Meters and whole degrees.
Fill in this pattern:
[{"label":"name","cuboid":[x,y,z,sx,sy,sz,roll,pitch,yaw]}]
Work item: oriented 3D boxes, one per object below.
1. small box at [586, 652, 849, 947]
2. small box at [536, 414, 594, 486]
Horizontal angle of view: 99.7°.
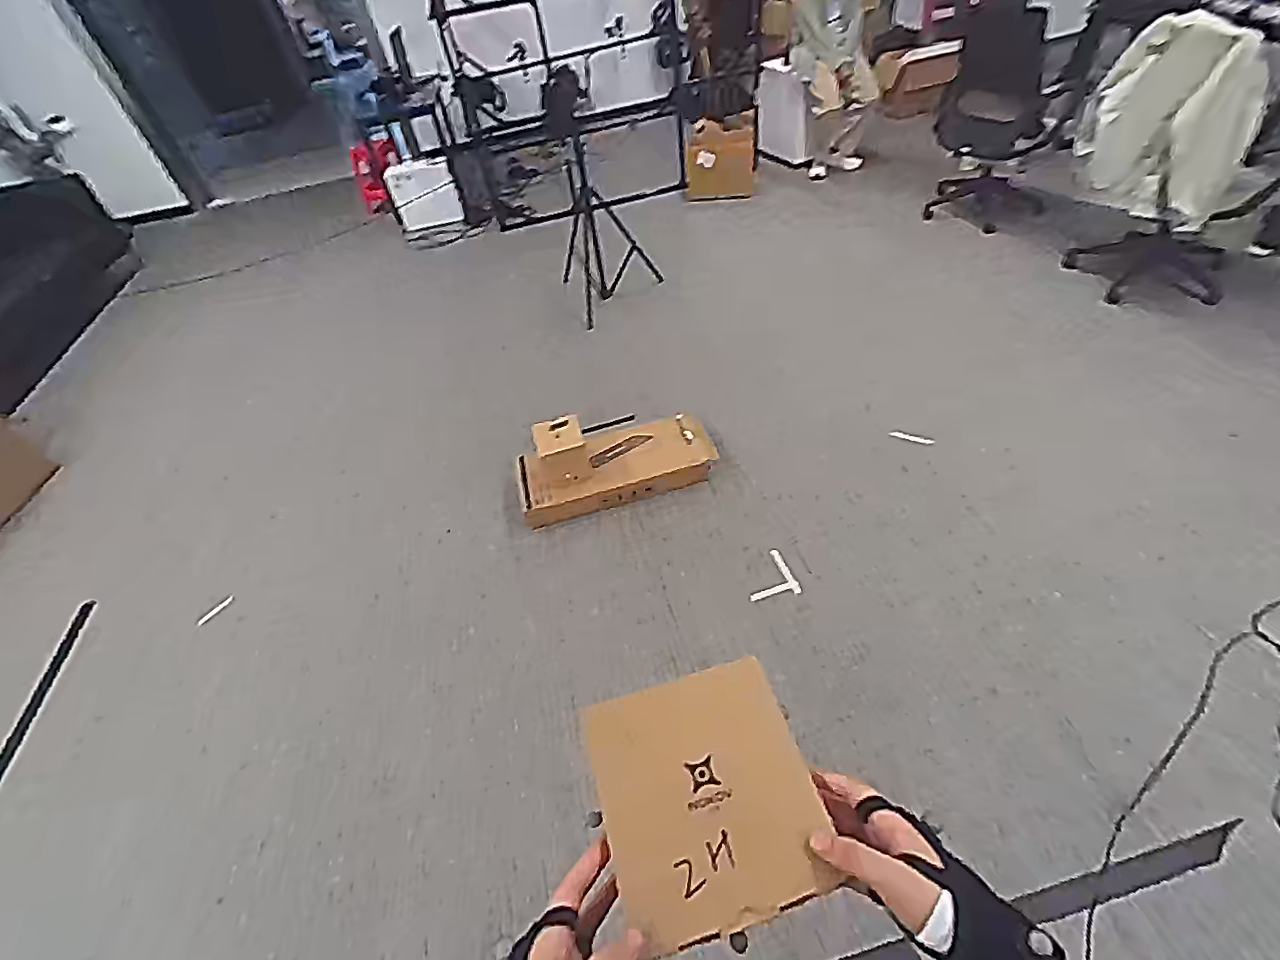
[{"label":"small box","cuboid":[0.054,0.289,0.491,0.168,0.176,0.179,-14,50,-8]},{"label":"small box","cuboid":[-0.273,-0.107,1.976,0.168,0.176,0.179,-16,47,-6]}]
